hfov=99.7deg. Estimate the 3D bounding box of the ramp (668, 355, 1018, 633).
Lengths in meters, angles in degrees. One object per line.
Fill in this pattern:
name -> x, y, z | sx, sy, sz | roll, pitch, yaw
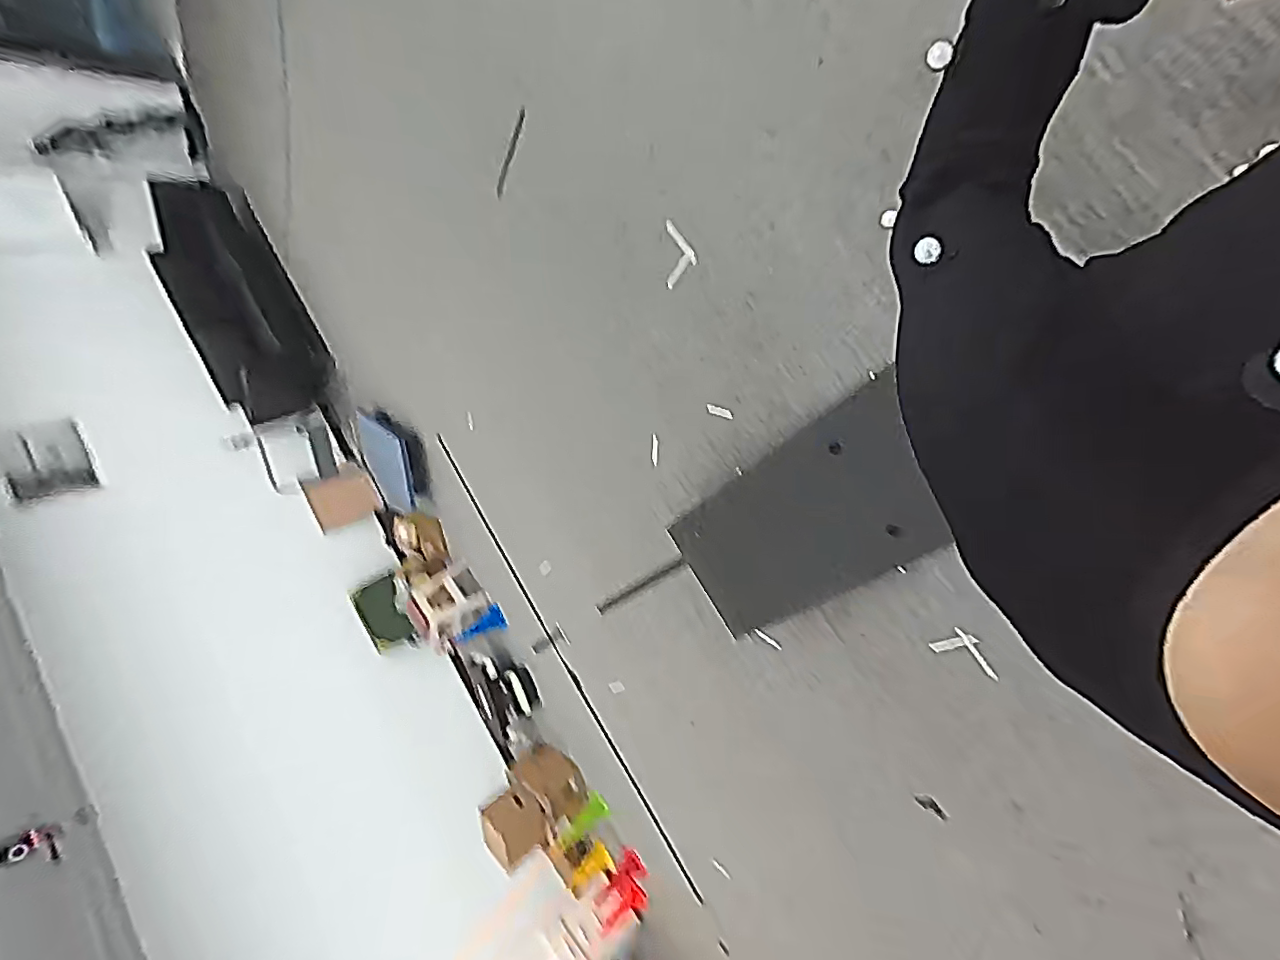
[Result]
ramp -> 0.529, 0.107, 1.699 | 0.509, 0.206, 0.991 | 58, 139, 12
